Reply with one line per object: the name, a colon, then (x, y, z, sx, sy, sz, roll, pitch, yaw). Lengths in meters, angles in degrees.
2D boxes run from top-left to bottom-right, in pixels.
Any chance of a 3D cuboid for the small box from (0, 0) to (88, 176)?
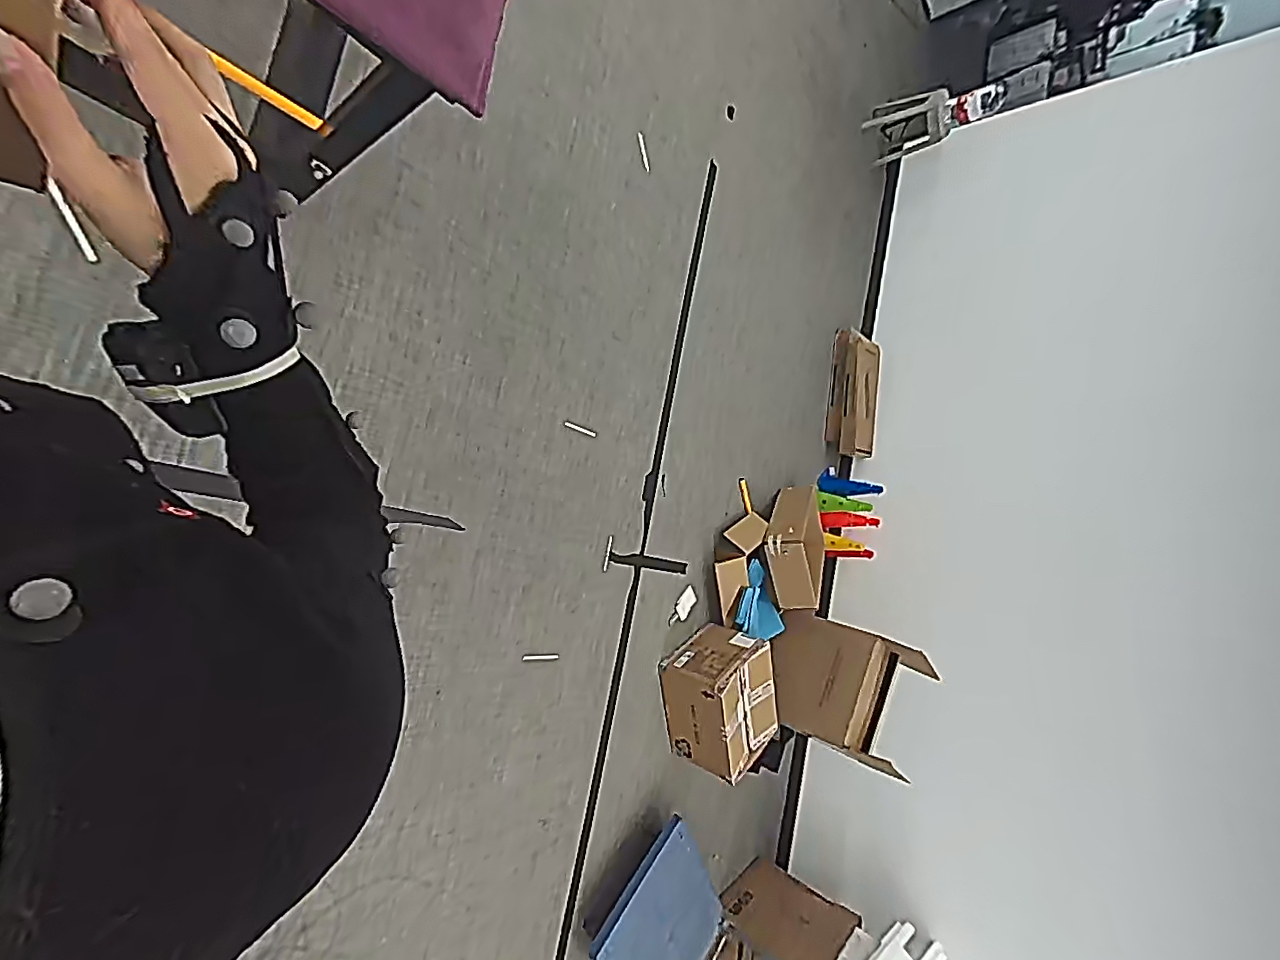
small box: (-0.328, -0.251, 0.196, 0.179, 0.176, 0.168, 1, 82, -50)
